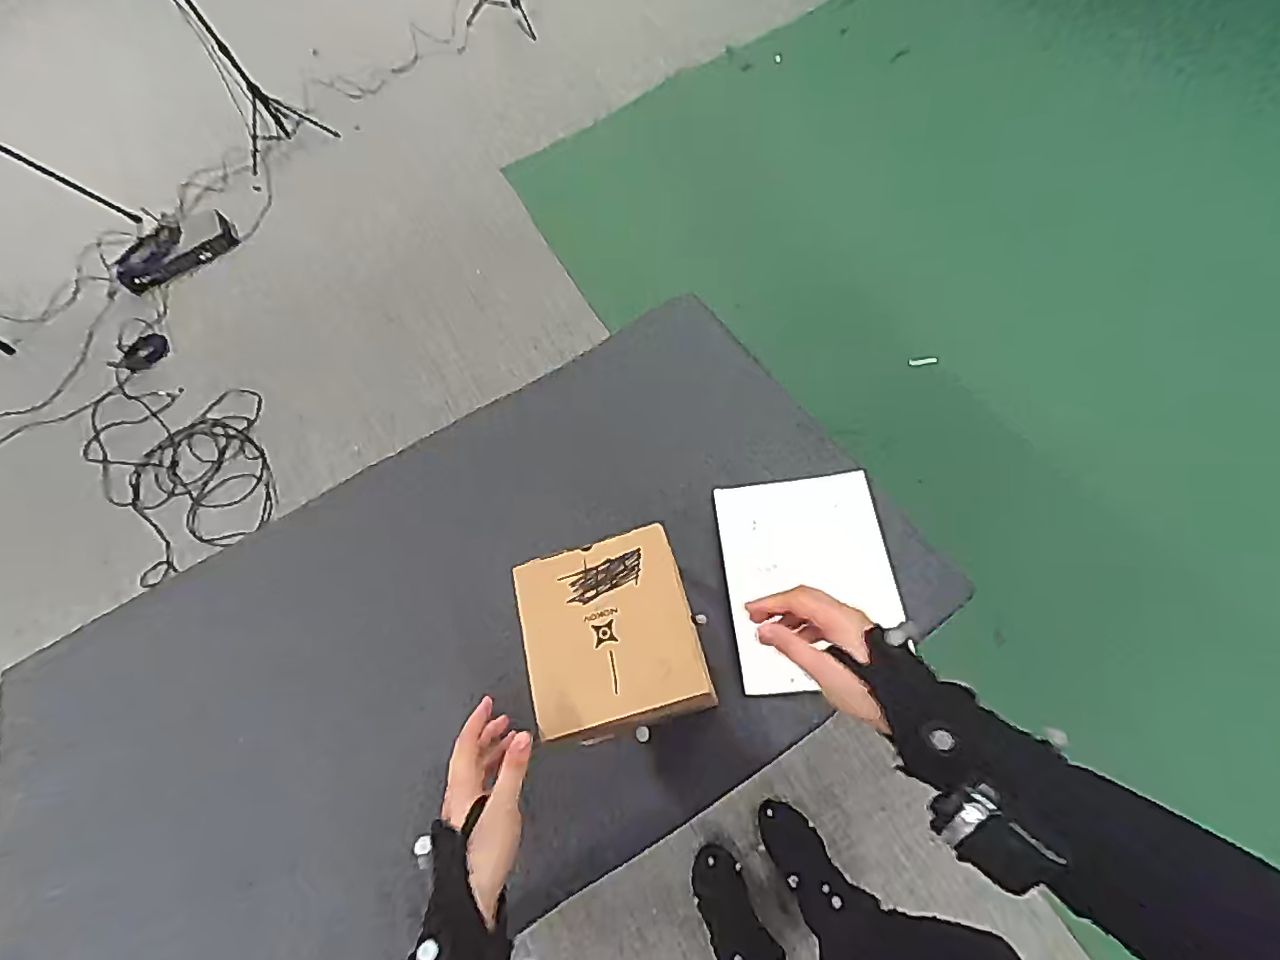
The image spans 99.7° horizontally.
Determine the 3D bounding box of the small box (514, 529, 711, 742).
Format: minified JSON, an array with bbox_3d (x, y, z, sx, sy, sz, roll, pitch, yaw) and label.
[{"bbox_3d":[-0.025,0.182,0.607,0.168,0.176,0.179,-18,63,2],"label":"small box"}]
